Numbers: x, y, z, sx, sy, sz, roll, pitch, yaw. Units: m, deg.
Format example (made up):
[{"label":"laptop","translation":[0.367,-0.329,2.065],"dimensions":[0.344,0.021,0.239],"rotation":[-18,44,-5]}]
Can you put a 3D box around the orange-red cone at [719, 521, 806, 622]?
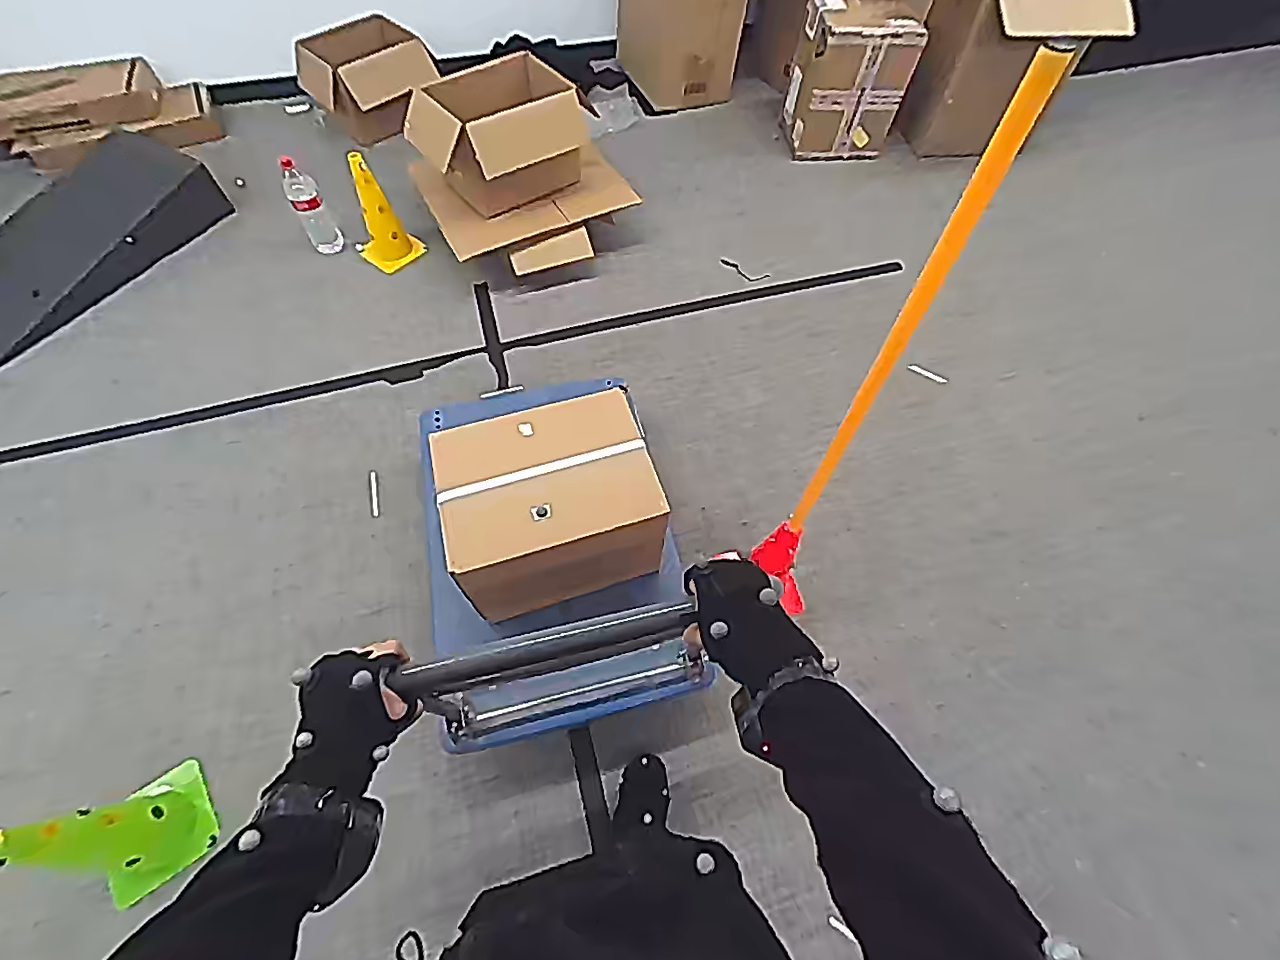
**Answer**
[{"label":"orange-red cone","translation":[0.329,0.188,1.294],"dimensions":[0.199,0.360,0.198],"rotation":[-8,61,-8]}]
